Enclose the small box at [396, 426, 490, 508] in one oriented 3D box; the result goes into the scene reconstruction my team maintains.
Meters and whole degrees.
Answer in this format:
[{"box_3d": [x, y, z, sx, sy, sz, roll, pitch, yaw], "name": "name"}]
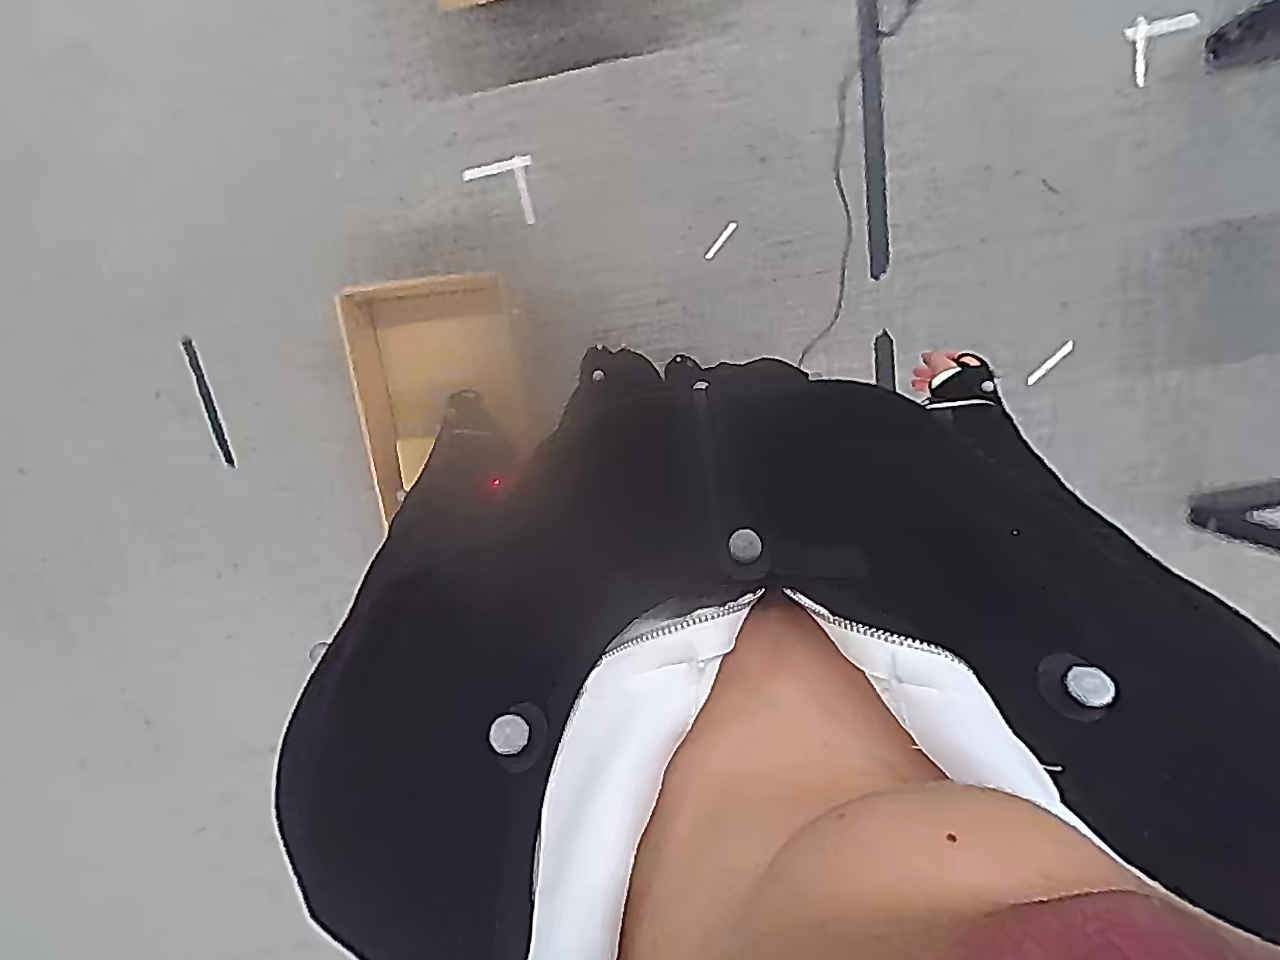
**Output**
[{"box_3d": [-0.496, -0.039, 1.391, 0.168, 0.176, 0.179, -6, 101, 1], "name": "small box"}]
